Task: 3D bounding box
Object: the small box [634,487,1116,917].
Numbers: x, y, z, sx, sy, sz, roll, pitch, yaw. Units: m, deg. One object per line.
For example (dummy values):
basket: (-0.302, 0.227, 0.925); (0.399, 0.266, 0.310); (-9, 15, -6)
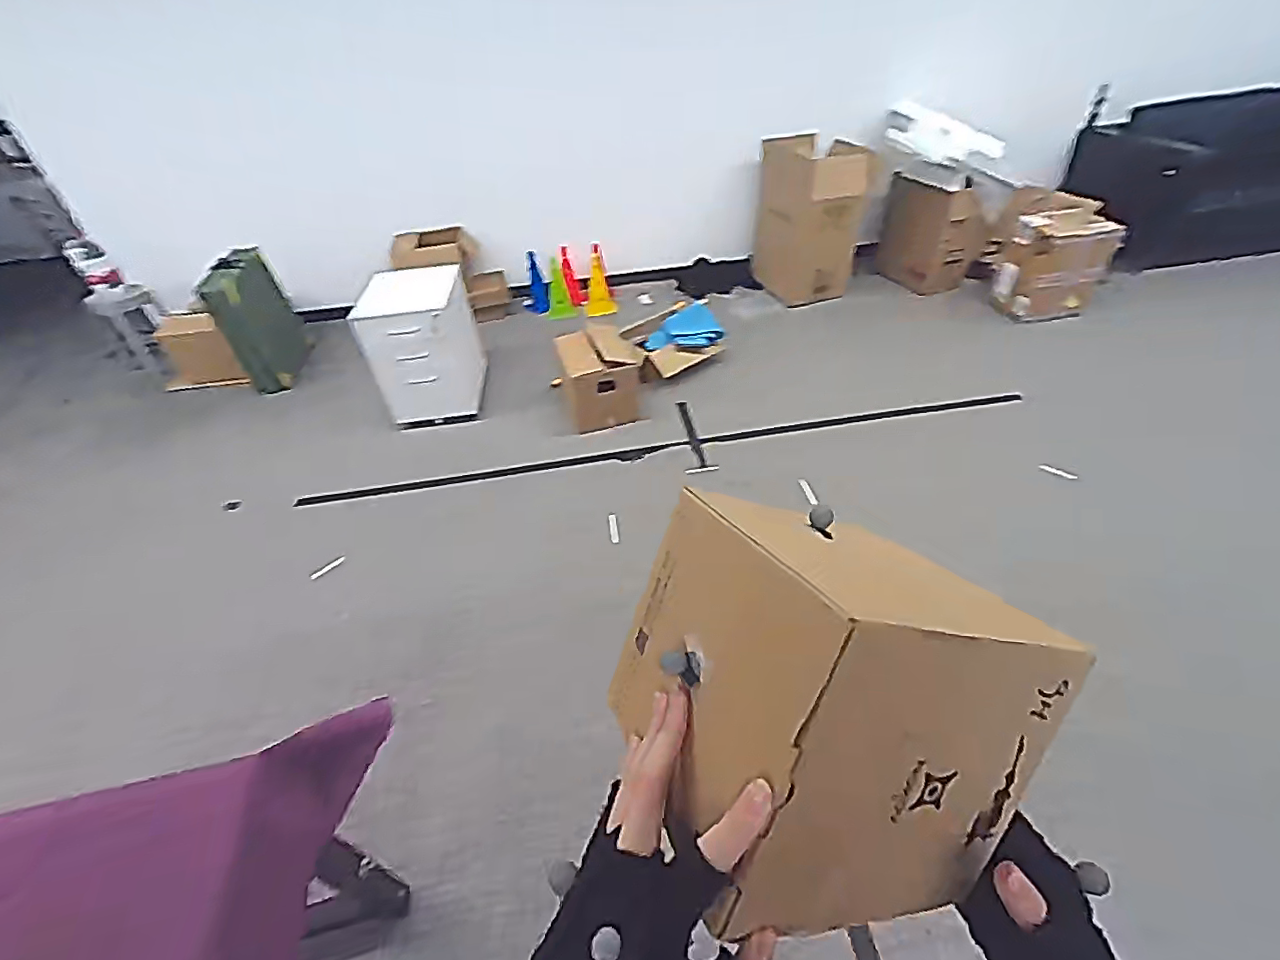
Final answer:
small box: (0.114, 0.114, 0.329); (0.179, 0.168, 0.176); (14, 12, -22)
